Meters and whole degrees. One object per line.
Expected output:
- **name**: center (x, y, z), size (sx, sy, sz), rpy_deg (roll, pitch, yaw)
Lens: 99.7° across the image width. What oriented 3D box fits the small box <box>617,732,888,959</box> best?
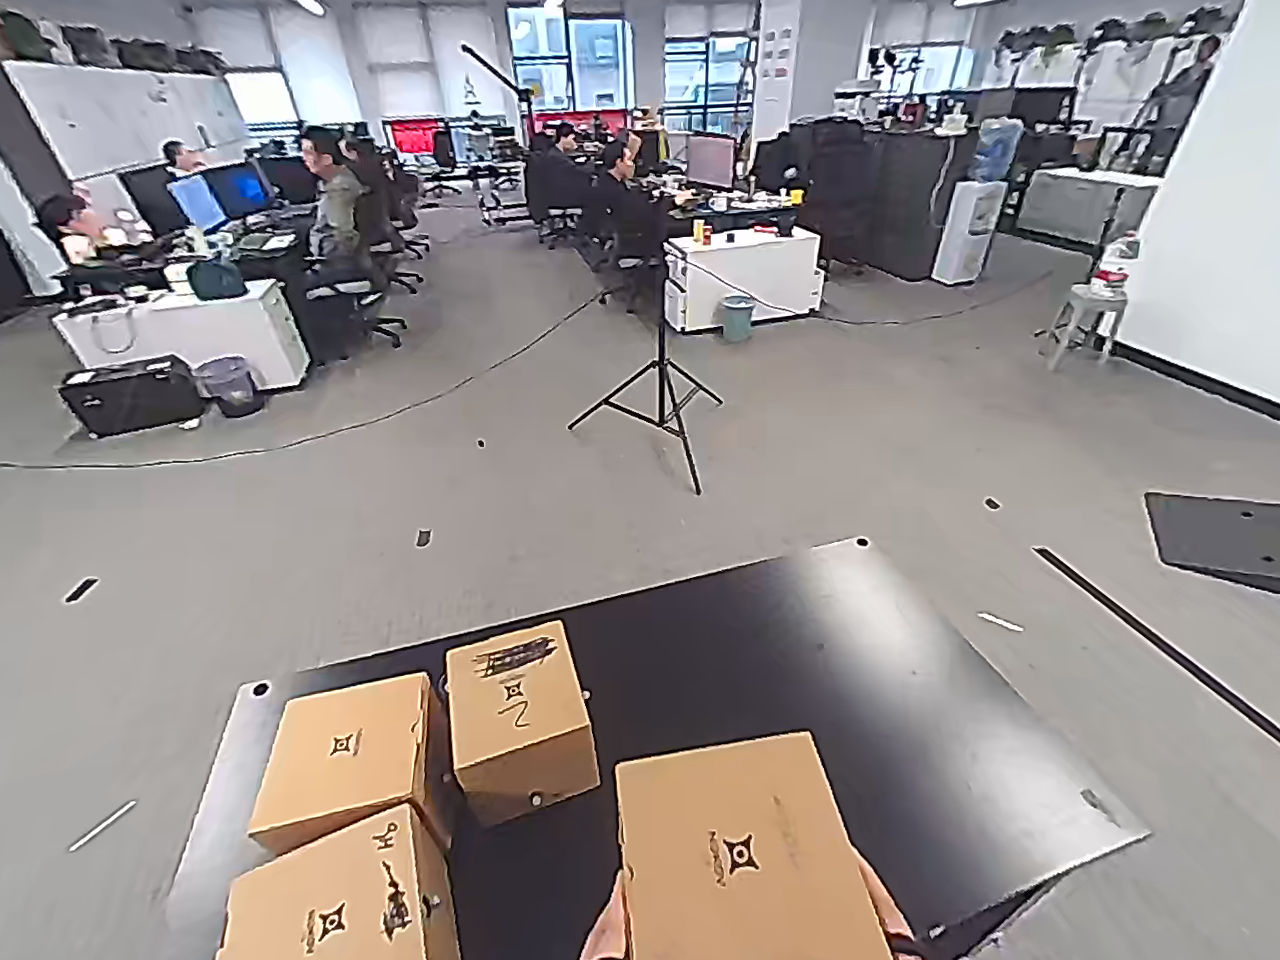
- **small box**: center (0.083, 0.350, 0.470), size (0.179, 0.176, 0.168), rpy_deg (-9, 40, -2)
